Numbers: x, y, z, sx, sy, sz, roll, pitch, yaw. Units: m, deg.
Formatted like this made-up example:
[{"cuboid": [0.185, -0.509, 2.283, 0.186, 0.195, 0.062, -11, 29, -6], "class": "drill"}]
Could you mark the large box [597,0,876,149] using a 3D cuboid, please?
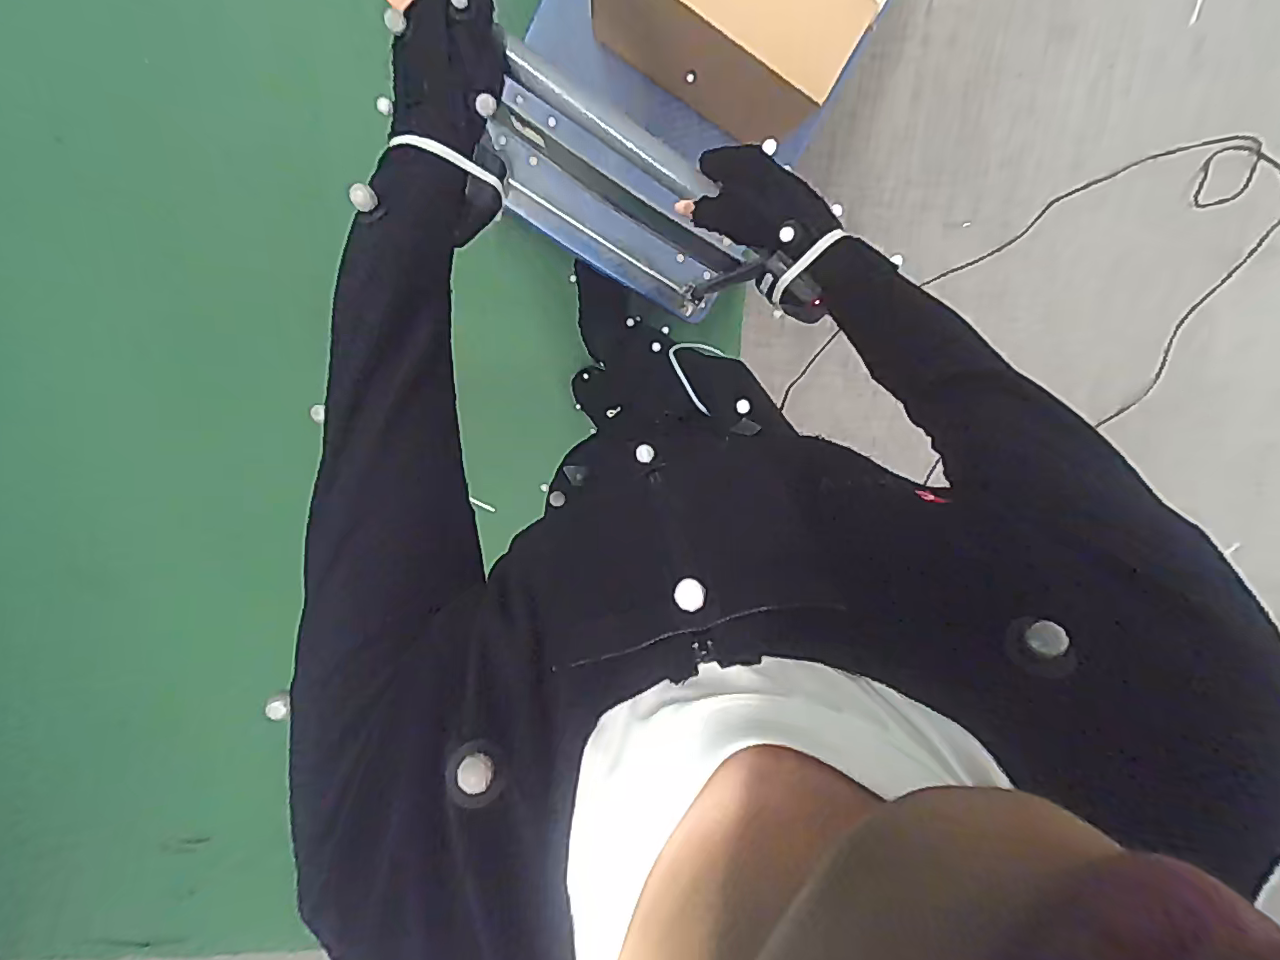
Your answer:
[{"cuboid": [0.171, -0.845, 0.905, 0.408, 0.320, 0.320, 28, 103, -12], "class": "large box"}]
